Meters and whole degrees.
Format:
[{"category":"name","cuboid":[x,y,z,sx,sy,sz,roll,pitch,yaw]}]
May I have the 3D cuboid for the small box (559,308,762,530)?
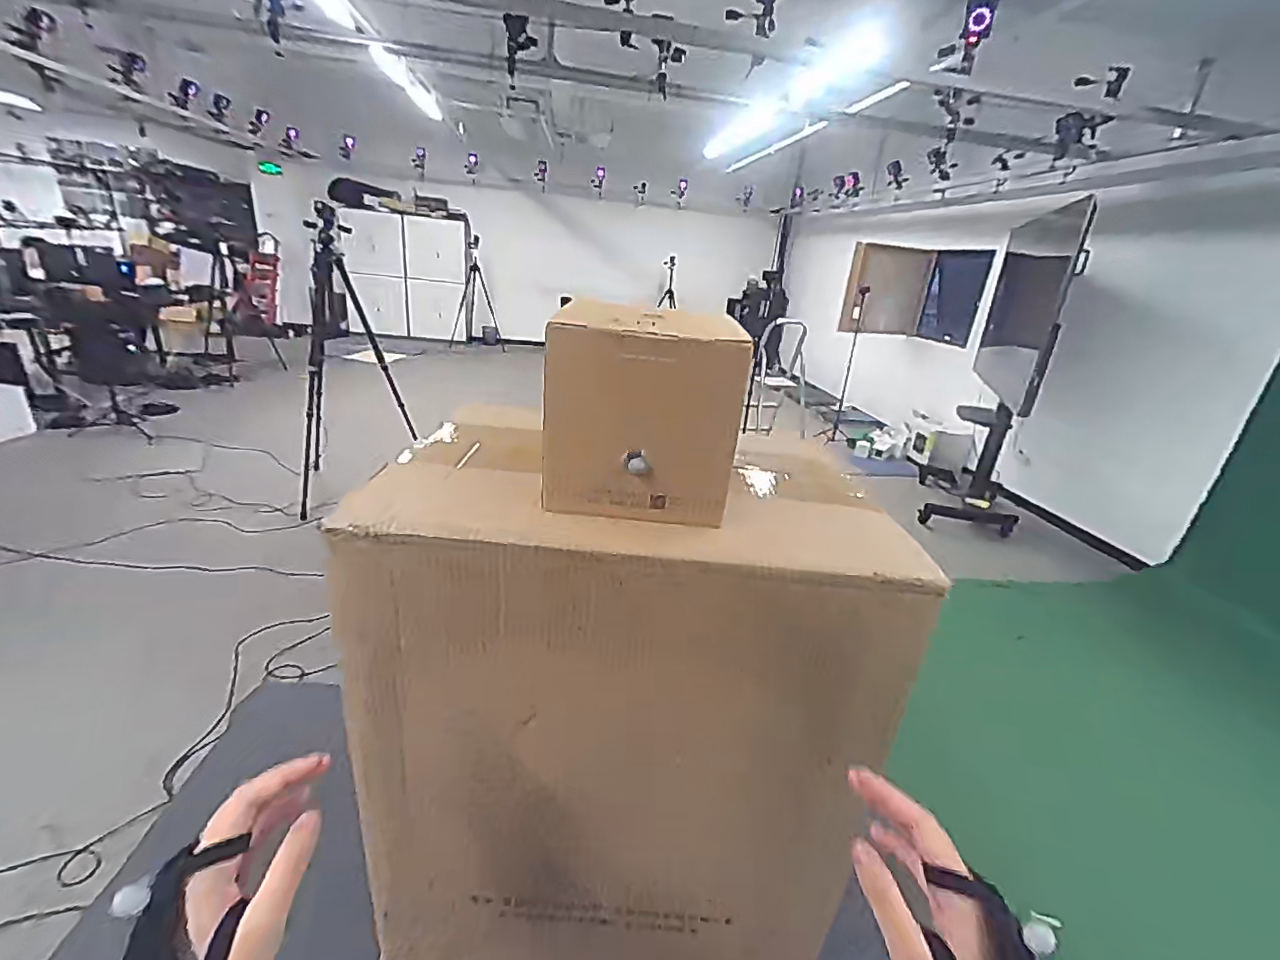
[{"category":"small box","cuboid":[0.013,-0.069,0.546,0.168,0.176,0.179,6,24,-1]}]
